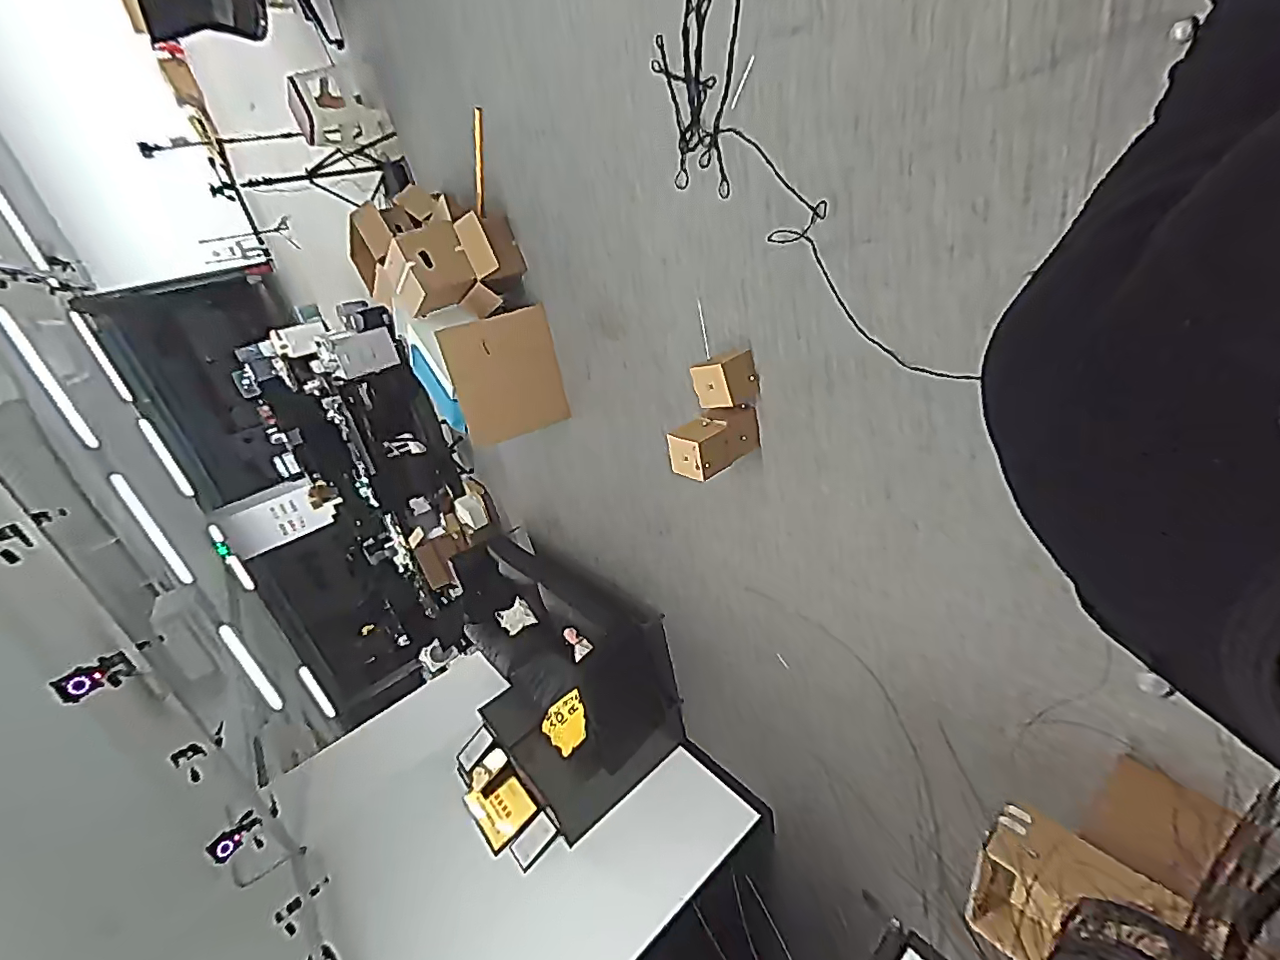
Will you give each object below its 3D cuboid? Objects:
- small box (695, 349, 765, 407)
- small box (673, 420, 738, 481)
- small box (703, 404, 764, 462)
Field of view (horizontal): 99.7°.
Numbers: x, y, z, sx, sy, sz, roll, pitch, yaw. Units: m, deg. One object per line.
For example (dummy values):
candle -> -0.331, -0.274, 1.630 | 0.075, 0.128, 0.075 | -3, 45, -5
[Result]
small box -> 0.344, -0.385, 2.051 | 0.179, 0.176, 0.168 | 7, 122, 54
small box -> 0.255, -0.121, 2.083 | 0.179, 0.176, 0.168 | 23, 134, 49
small box -> 0.377, -0.197, 2.161 | 0.168, 0.176, 0.179 | 21, 133, 49
